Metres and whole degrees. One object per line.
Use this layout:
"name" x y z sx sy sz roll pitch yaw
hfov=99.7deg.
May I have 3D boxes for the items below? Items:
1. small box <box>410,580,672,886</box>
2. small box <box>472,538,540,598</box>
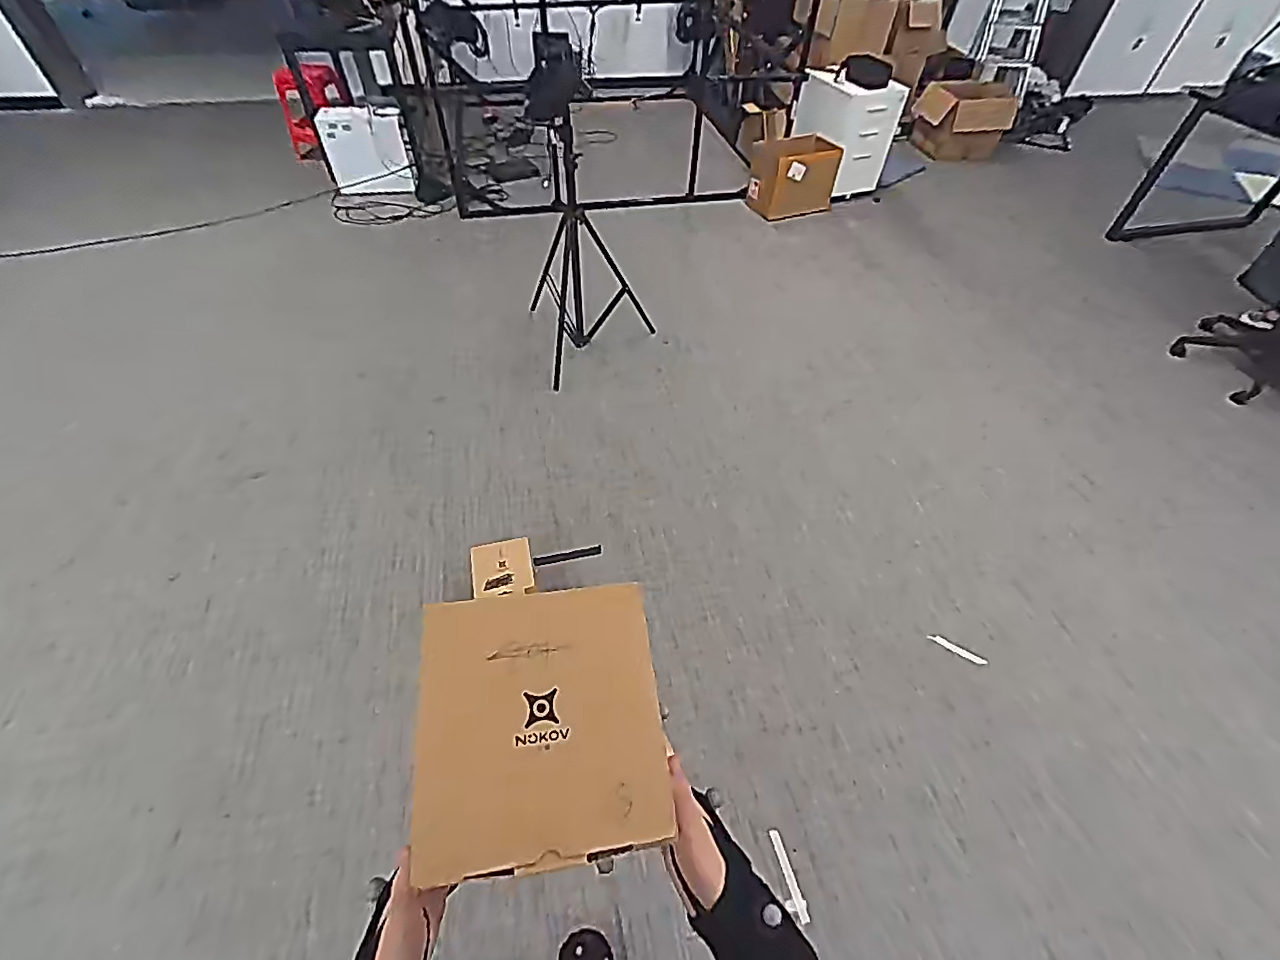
"small box" -0.078 0.201 0.443 0.168 0.176 0.179 -5 59 -11
"small box" -0.384 0.299 1.574 0.168 0.176 0.179 -11 51 -11
